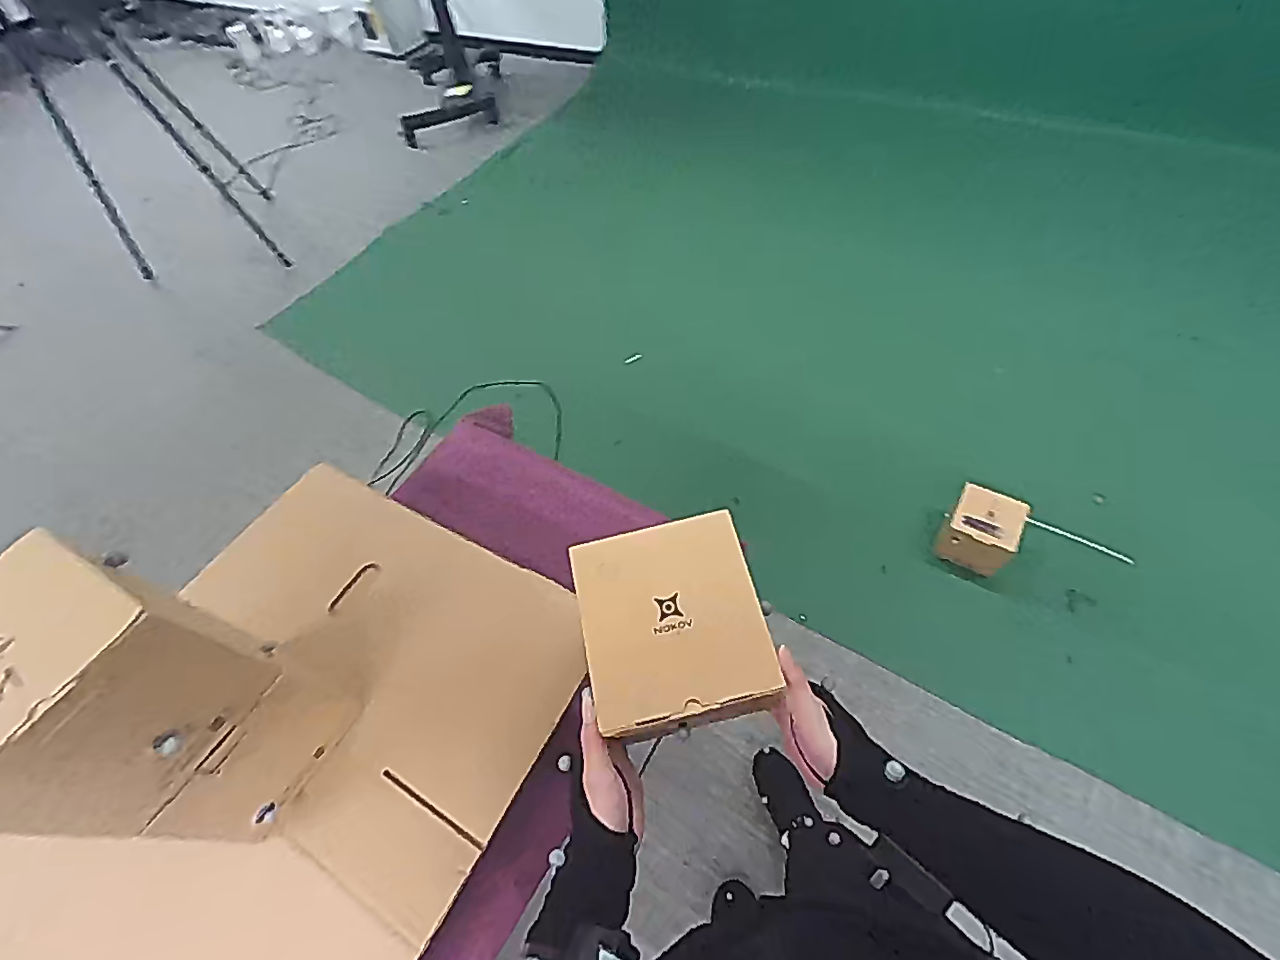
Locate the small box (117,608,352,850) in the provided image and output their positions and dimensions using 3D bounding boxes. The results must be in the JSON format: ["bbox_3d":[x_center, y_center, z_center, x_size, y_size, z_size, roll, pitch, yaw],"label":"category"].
[{"bbox_3d":[-0.469,0.277,0.601,0.179,0.176,0.168,22,59,21],"label":"small box"}]

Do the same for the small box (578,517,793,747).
[{"bbox_3d":[0.039,0.164,0.559,0.168,0.176,0.179,-13,62,-1],"label":"small box"}]

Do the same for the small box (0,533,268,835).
[{"bbox_3d":[-0.486,0.181,0.469,0.179,0.176,0.168,23,60,20],"label":"small box"}]
